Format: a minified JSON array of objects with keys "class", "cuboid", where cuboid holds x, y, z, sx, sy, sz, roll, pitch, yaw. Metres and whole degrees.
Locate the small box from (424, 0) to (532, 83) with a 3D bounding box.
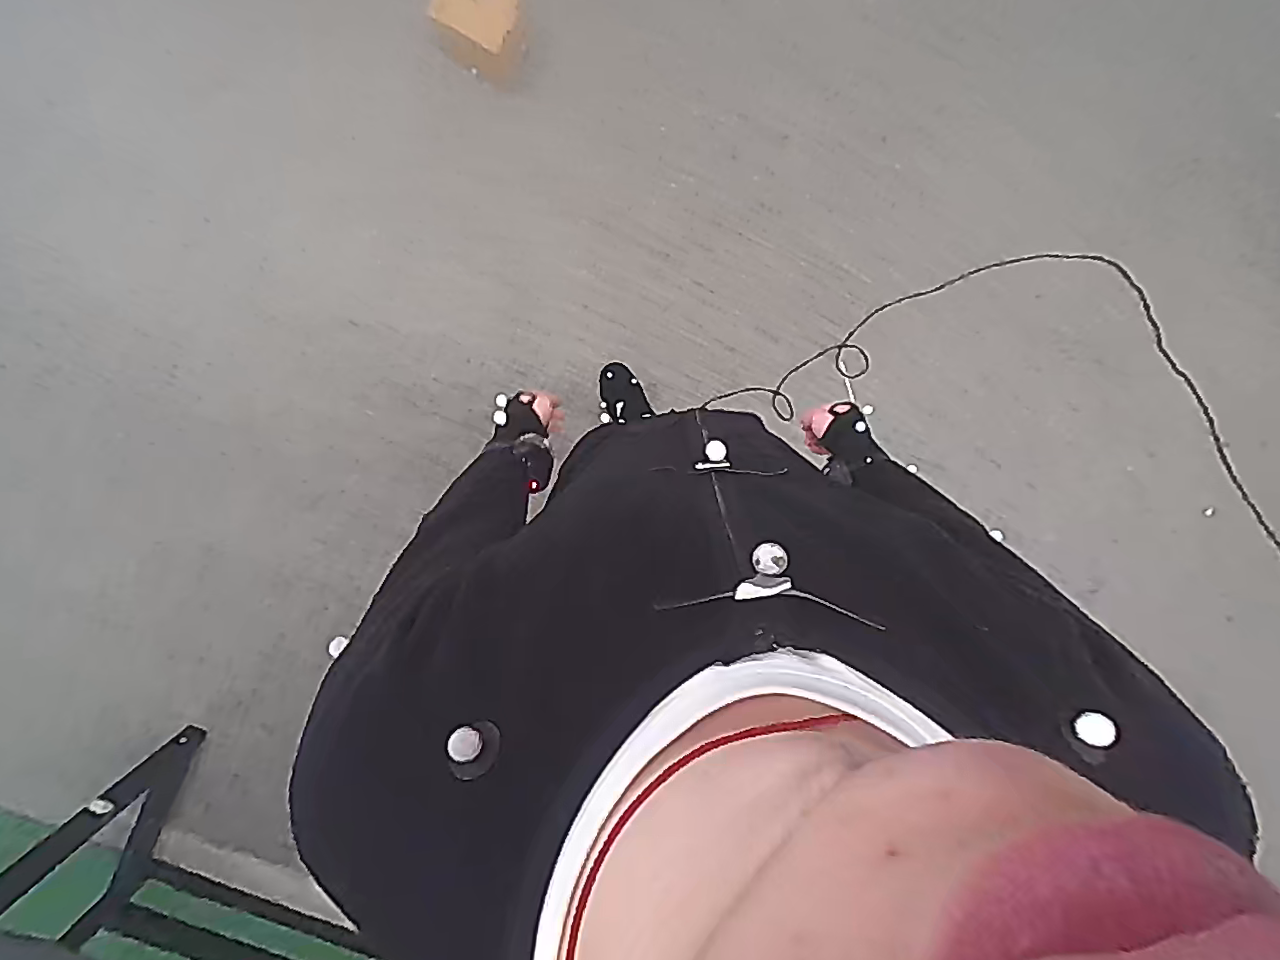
[{"class":"small box","cuboid":[-0.371,-1.089,1.275,0.179,0.176,0.168,27,96,-7]}]
